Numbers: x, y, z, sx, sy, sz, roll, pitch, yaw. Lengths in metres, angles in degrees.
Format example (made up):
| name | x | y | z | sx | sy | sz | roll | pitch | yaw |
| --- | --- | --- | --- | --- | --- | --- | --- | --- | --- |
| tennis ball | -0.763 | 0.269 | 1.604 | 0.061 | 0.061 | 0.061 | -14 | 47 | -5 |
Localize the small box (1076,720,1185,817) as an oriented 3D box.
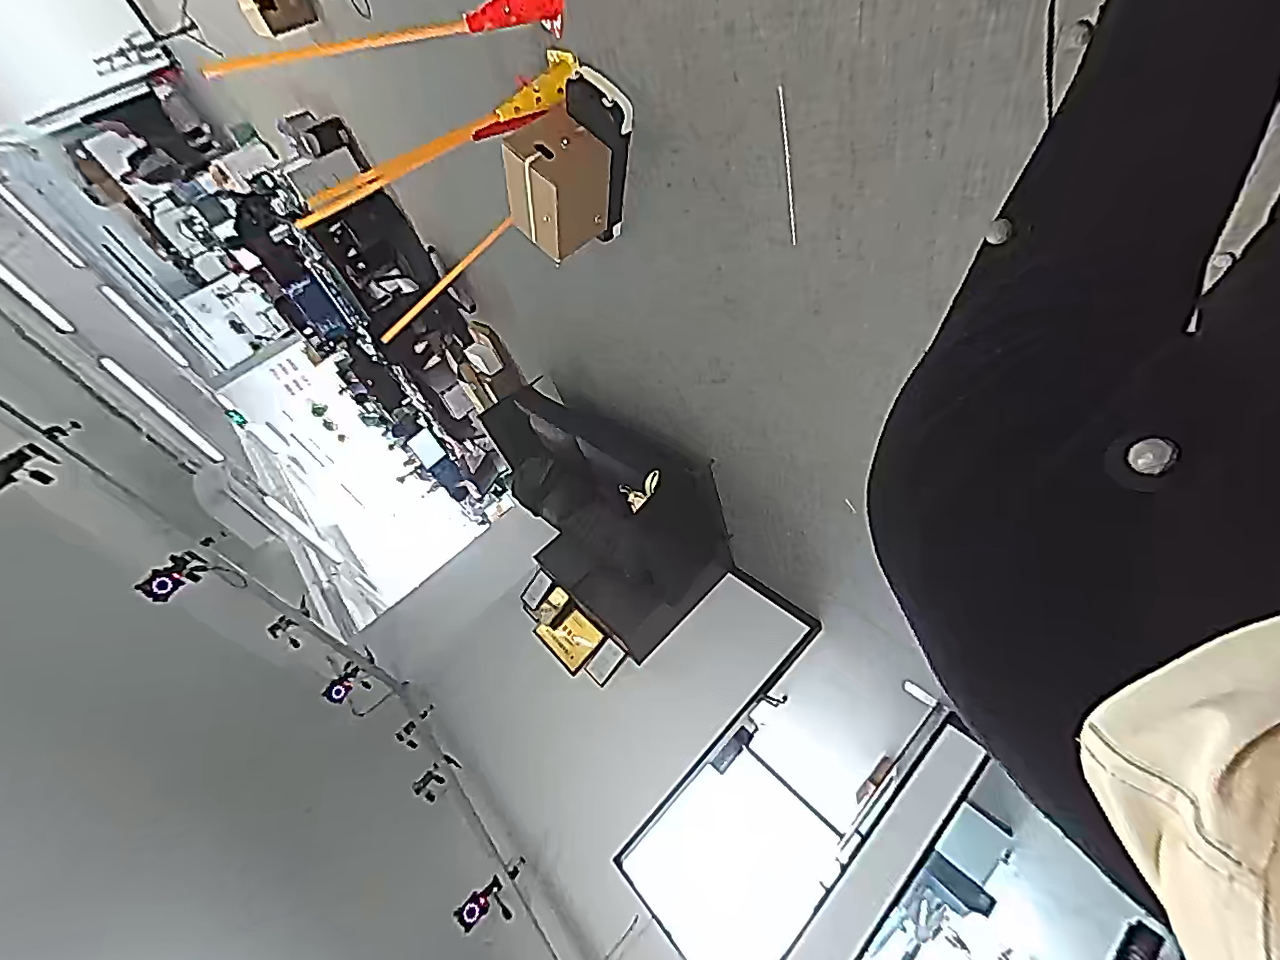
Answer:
| name | x | y | z | sx | sy | sz | roll | pitch | yaw |
| --- | --- | --- | --- | --- | --- | --- | --- | --- | --- |
| small box | 1.459 | 0.856 | 1.610 | 0.168 | 0.176 | 0.179 | 35 | 155 | 39 |
